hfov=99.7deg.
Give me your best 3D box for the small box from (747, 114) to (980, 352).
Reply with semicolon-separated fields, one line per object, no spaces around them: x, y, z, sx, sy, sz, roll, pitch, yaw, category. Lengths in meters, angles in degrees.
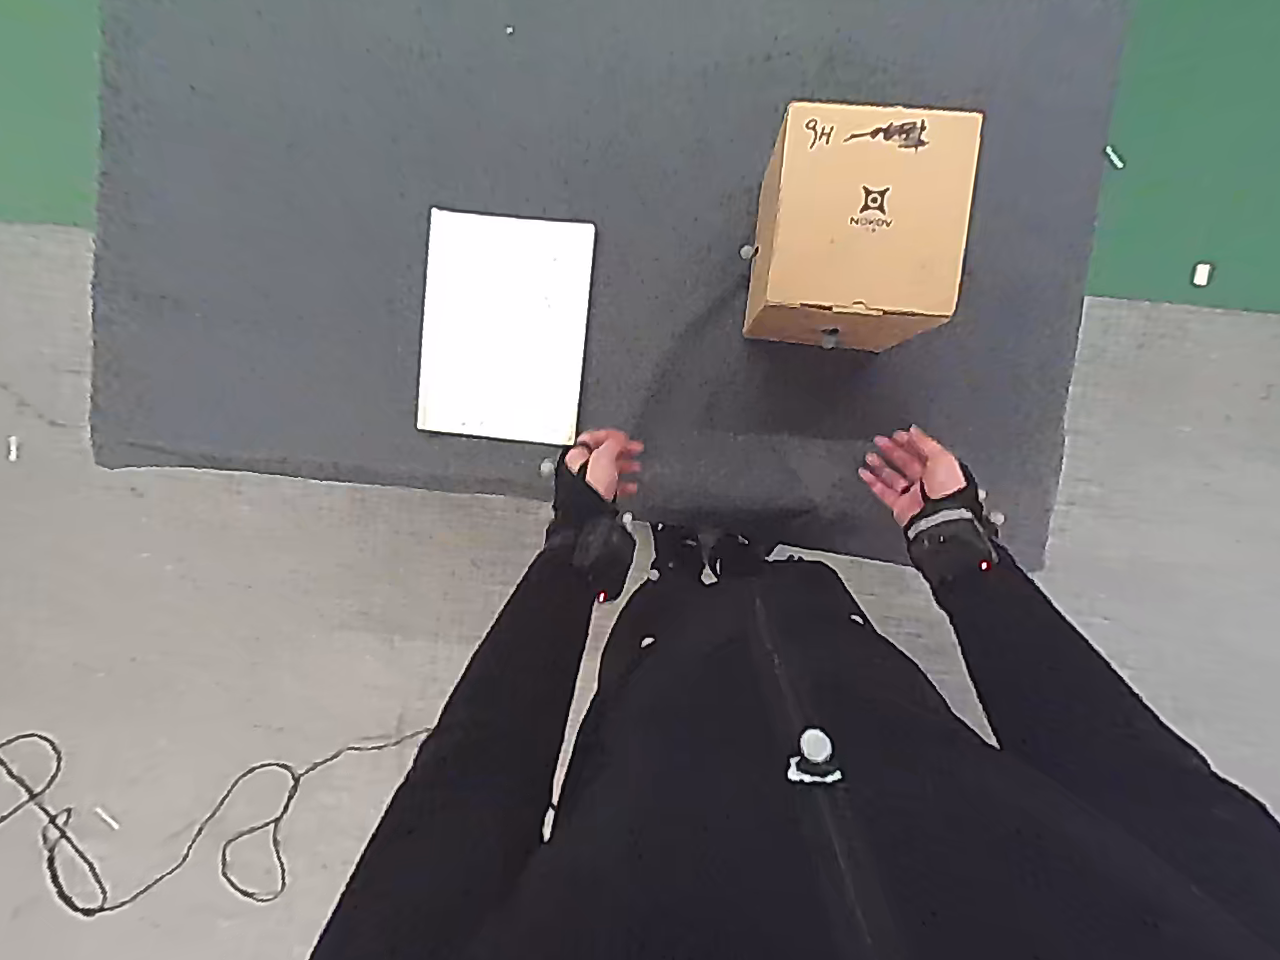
0.208;-0.234;0.556;0.168;0.176;0.179;6;96;3;small box
